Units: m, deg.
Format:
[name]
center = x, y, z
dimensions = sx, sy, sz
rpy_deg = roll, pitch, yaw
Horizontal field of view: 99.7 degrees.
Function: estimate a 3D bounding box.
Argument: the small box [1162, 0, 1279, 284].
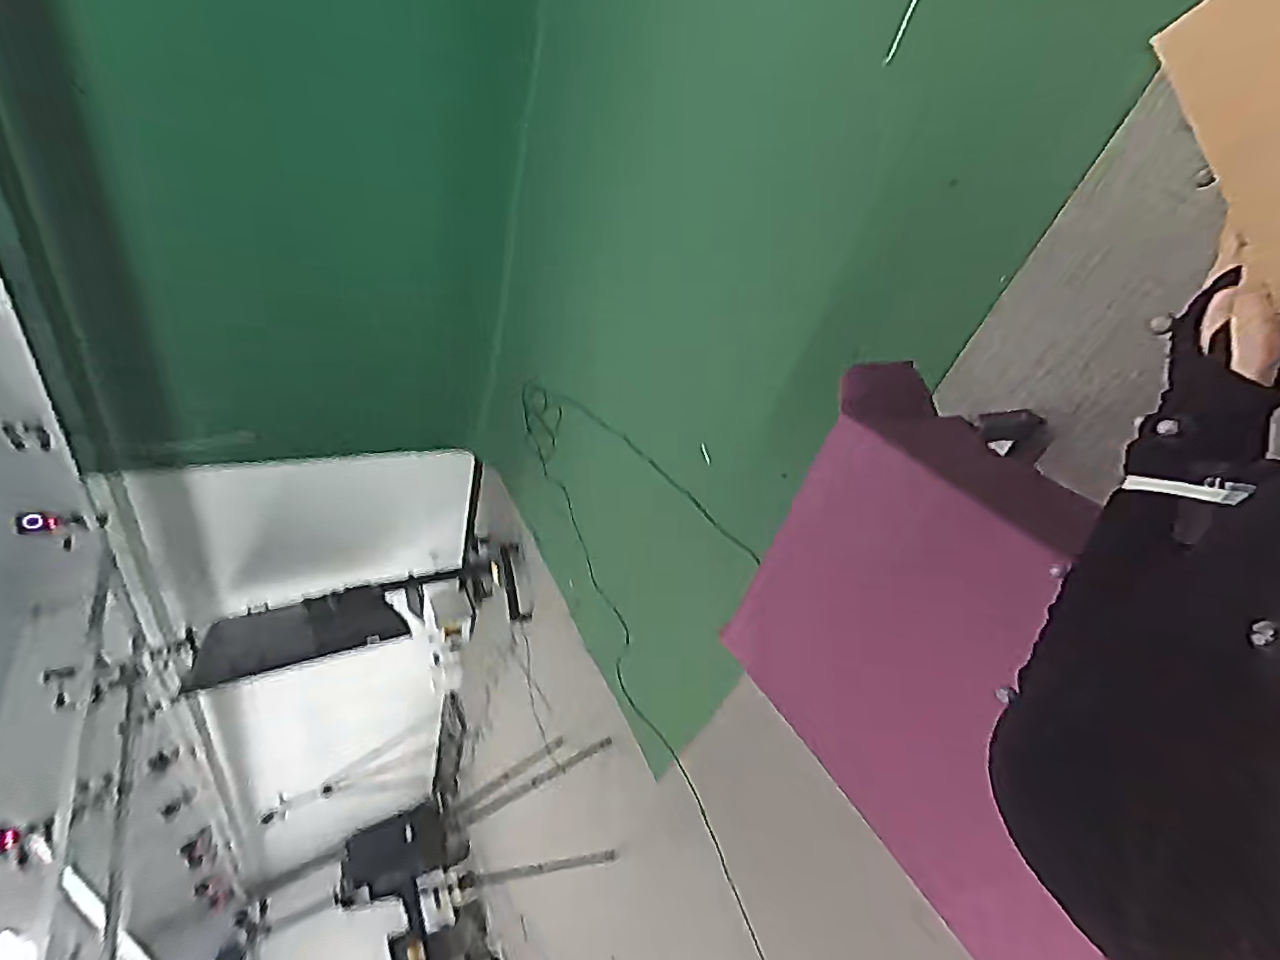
[small box]
center = 0.416, -0.222, 0.267
dimensions = 0.179, 0.176, 0.168
rpy_deg = -22, 93, 54
